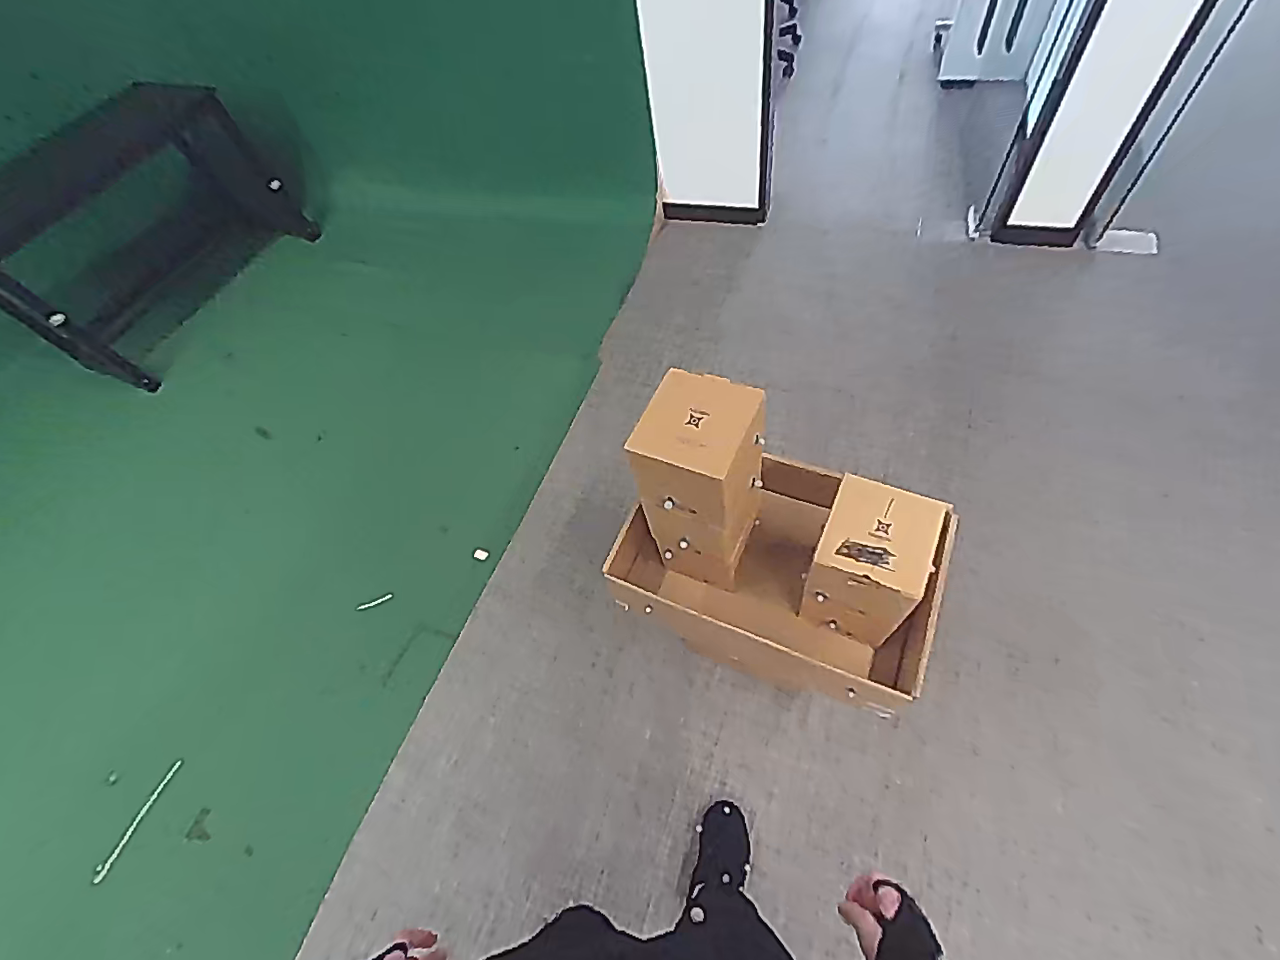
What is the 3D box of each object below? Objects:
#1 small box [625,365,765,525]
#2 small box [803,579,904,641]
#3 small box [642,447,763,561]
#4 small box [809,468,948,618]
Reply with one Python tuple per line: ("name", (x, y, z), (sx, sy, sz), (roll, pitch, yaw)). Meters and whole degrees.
("small box", (0.096, -0.056, 0.891), (0.168, 0.176, 0.179), (19, 65, 22))
("small box", (0.429, 0.191, 1.066), (0.168, 0.176, 0.179), (18, 66, 20))
("small box", (0.124, 0.026, 1.030), (0.168, 0.176, 0.179), (20, 65, 22))
("small box", (0.396, 0.114, 0.924), (0.168, 0.176, 0.179), (19, 66, 20))
